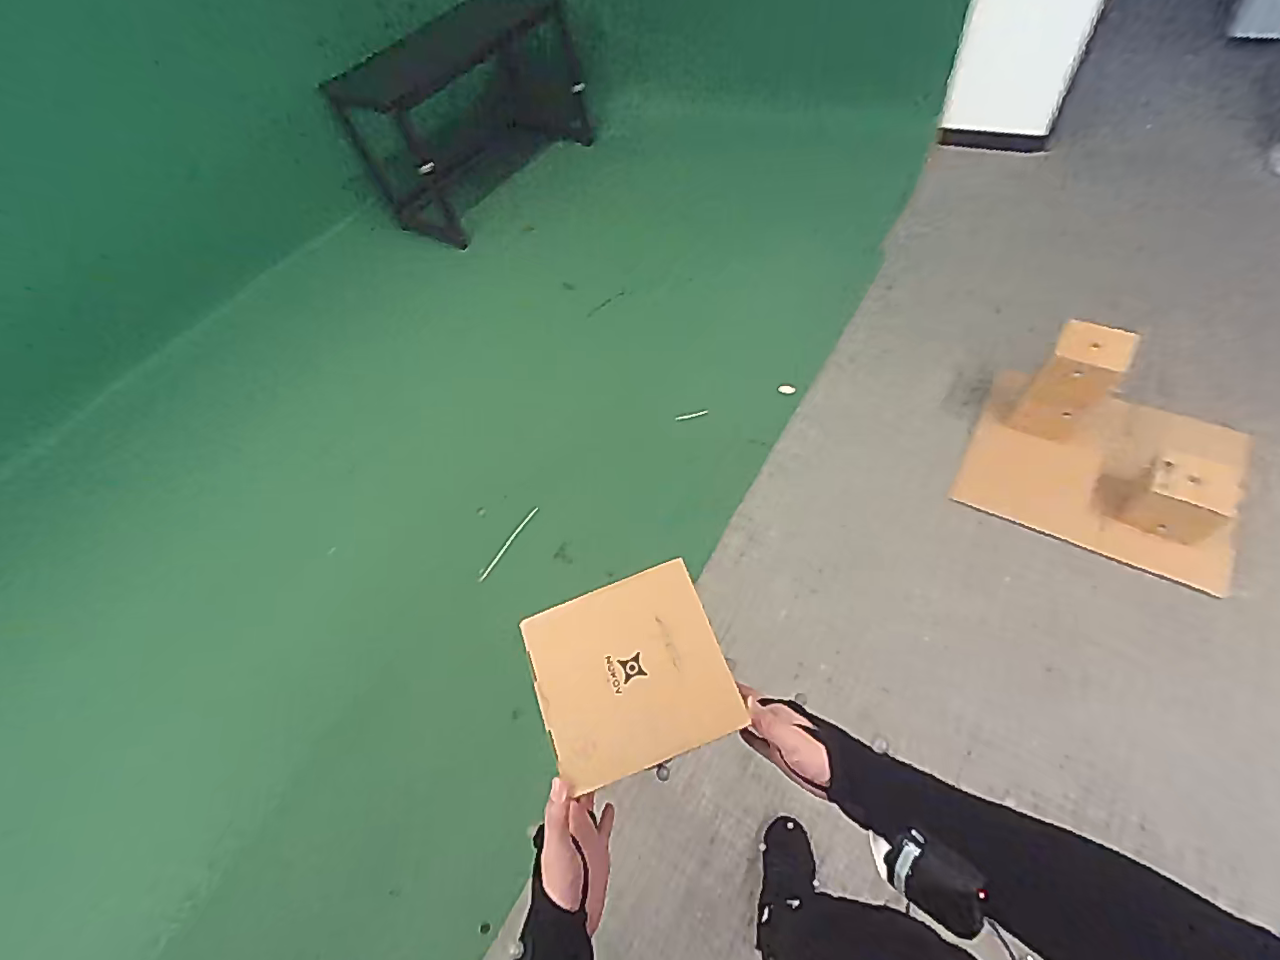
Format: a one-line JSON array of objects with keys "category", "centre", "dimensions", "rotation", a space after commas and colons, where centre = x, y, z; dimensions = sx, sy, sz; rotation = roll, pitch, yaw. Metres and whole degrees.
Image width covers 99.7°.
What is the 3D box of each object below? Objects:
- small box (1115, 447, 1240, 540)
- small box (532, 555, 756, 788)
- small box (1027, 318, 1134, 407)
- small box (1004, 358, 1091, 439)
[{"category": "small box", "centre": [1.486, 0.044, 1.504], "dimensions": [0.179, 0.176, 0.168], "rotation": [27, 66, 26]}, {"category": "small box", "centre": [0.008, 0.205, 0.574], "dimensions": [0.179, 0.176, 0.168], "rotation": [-20, 65, -2]}, {"category": "small box", "centre": [1.292, -0.340, 1.593], "dimensions": [0.179, 0.176, 0.168], "rotation": [25, 66, 25]}, {"category": "small box", "centre": [1.313, -0.255, 1.730], "dimensions": [0.179, 0.176, 0.168], "rotation": [26, 65, 25]}]
